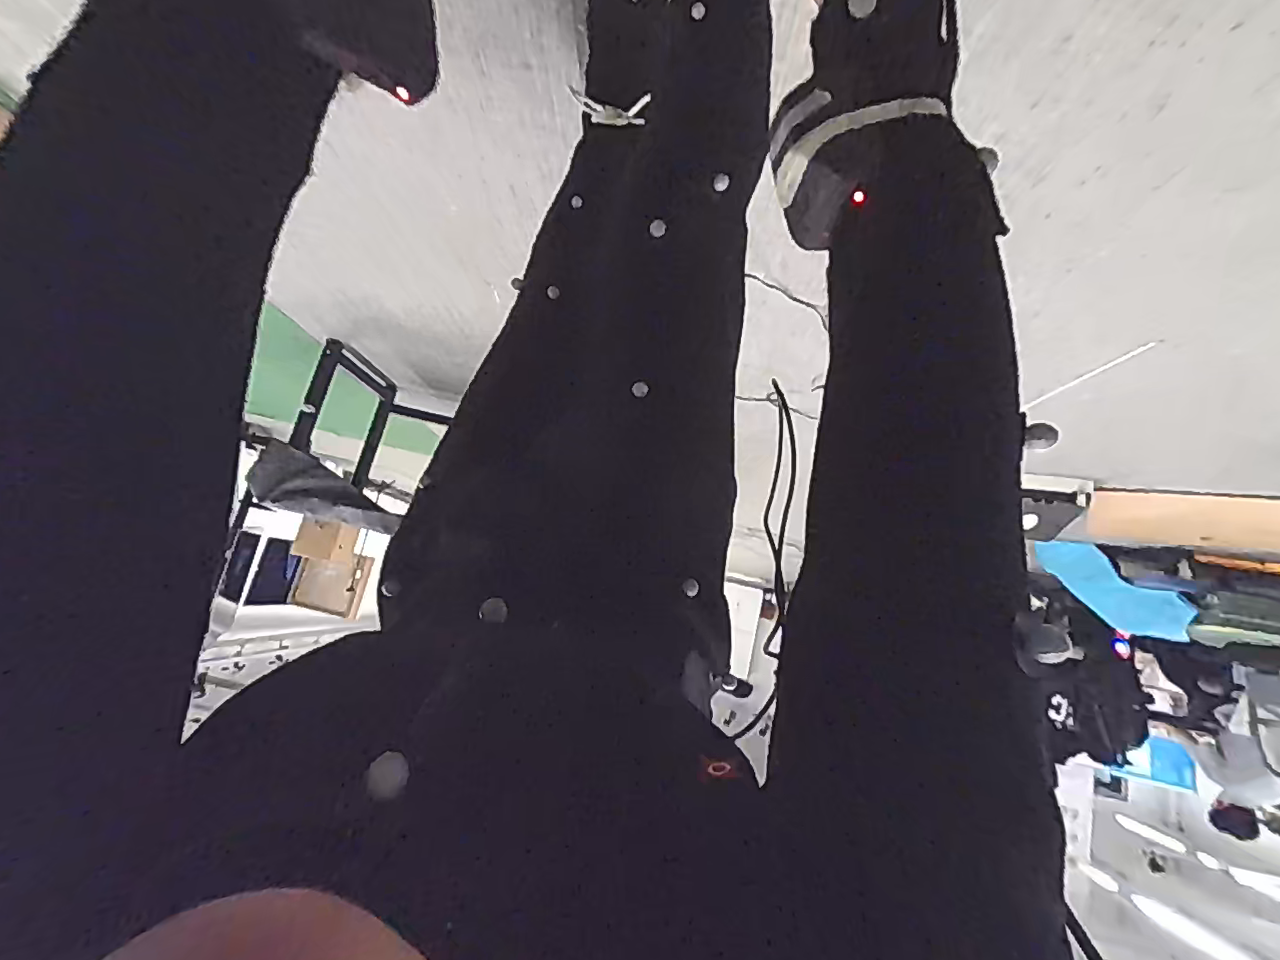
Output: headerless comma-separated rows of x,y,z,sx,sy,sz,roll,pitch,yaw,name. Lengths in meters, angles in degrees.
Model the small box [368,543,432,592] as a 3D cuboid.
-0.972,0.359,2.215,0.179,0.176,0.168,13,168,2,small box
